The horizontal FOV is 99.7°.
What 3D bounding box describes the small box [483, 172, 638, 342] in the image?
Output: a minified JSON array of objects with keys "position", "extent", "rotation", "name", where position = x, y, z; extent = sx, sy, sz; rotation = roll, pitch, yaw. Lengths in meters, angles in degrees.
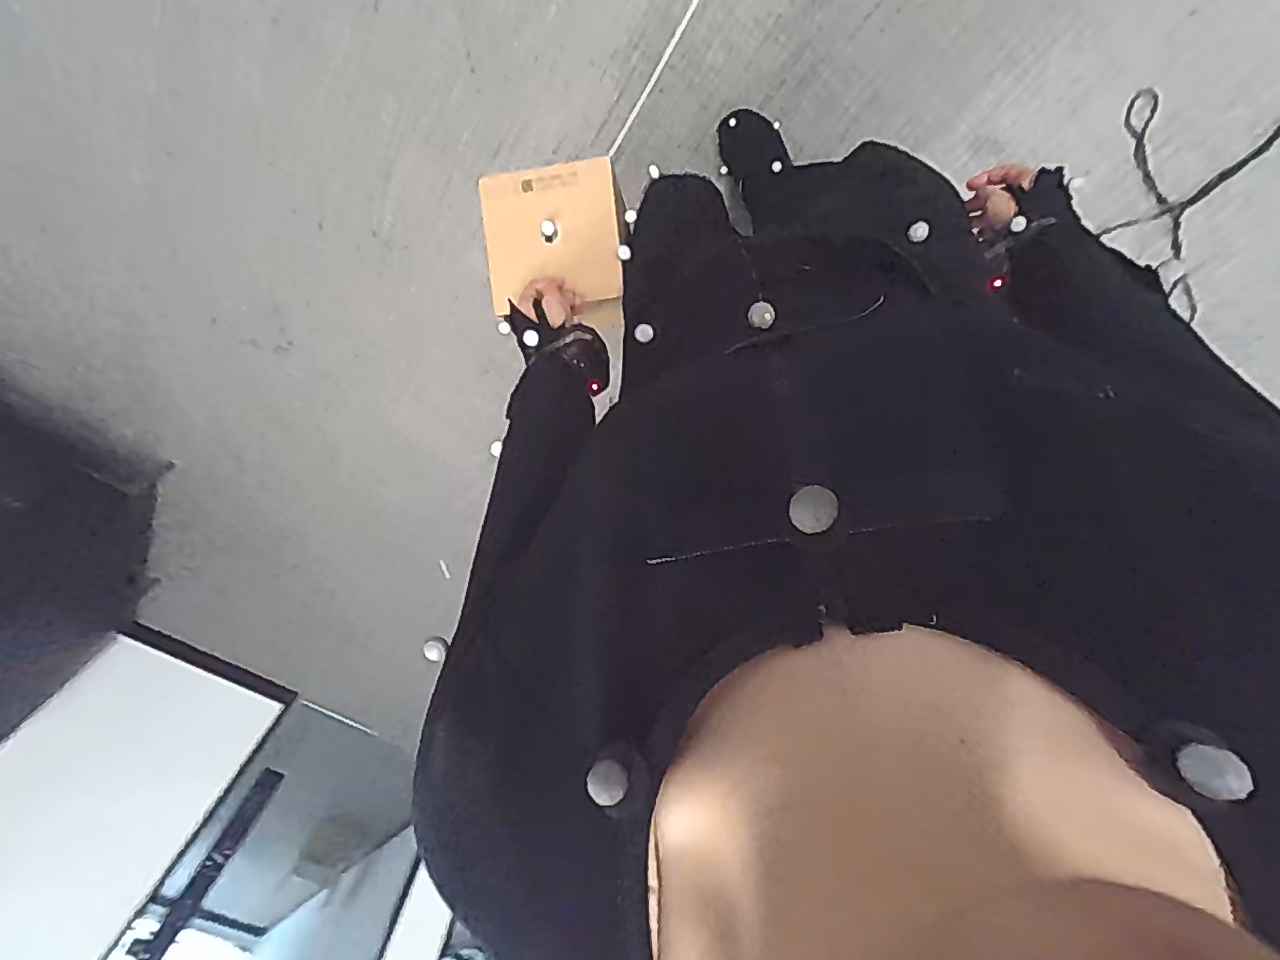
[{"position":[-0.100,-0.297,0.734],"extent":[0.168,0.179,0.176],"rotation":[-5,94,7],"name":"small box"}]
